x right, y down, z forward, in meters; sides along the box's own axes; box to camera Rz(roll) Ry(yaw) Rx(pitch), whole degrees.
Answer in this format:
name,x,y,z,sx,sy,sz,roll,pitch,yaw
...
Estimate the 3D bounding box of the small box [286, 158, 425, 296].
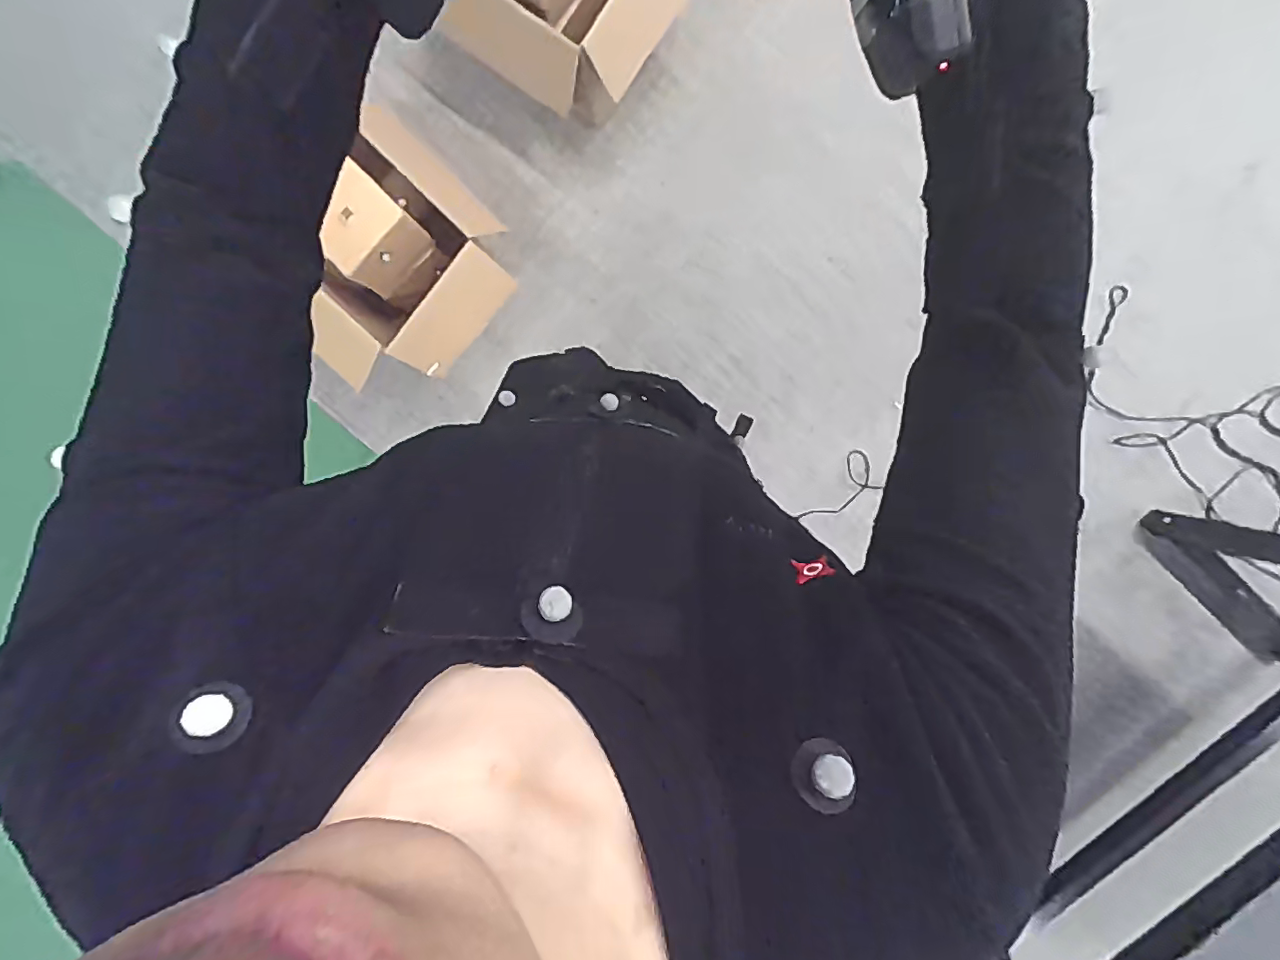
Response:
name,x,y,z,sx,sy,sz,roll,pitch,yaw
small box,-0.587,-0.526,1.150,0.168,0.176,0.179,44,95,-3
